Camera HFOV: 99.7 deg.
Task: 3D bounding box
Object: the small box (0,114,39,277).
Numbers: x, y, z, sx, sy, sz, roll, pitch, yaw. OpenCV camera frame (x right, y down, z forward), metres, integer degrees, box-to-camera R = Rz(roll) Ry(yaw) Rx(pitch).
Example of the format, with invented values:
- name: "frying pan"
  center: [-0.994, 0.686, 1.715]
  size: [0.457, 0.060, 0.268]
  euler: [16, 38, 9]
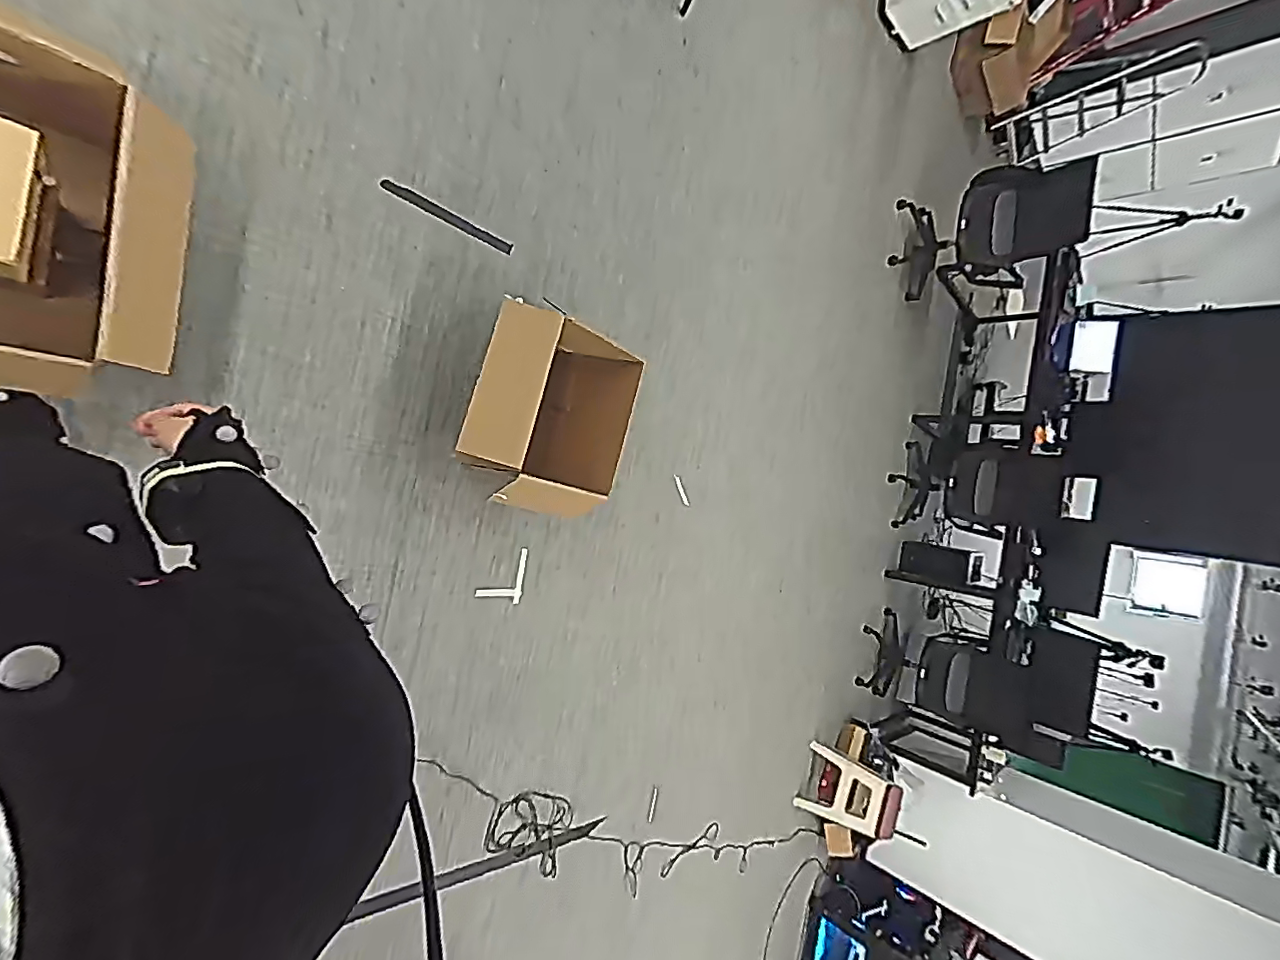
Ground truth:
- name: "small box"
  center: [-0.891, -0.378, 0.678]
  size: [0.168, 0.176, 0.179]
  euler: [11, 89, -46]
